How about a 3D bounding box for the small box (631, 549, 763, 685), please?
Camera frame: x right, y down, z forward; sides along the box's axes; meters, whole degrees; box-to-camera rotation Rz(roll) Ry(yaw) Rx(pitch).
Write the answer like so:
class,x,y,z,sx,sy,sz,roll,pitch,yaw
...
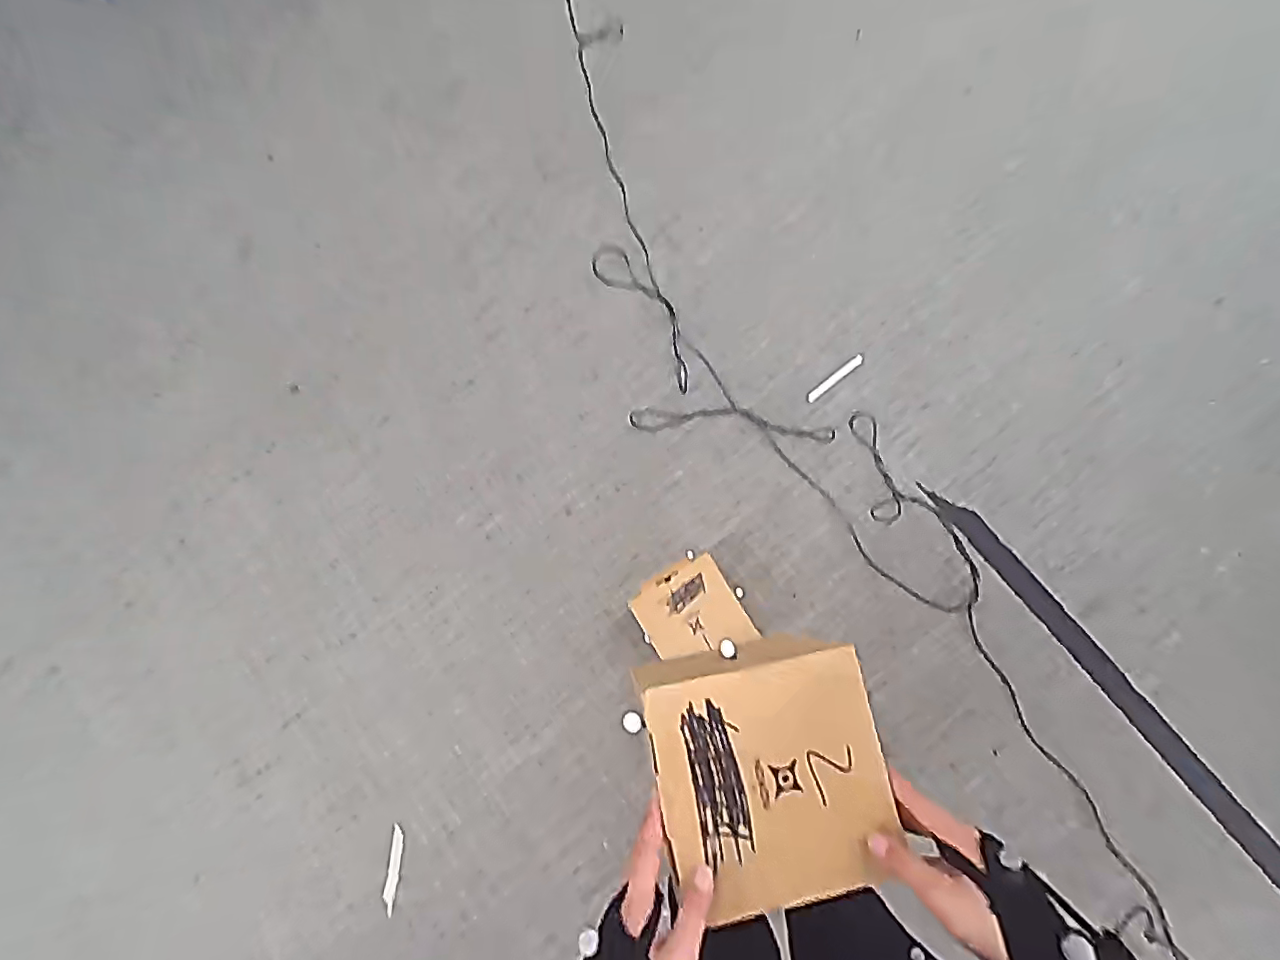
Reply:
class,x,y,z,sx,sy,sz,roll,pitch,yaw
small box,0.102,0.242,0.997,0.168,0.176,0.179,-32,82,2
